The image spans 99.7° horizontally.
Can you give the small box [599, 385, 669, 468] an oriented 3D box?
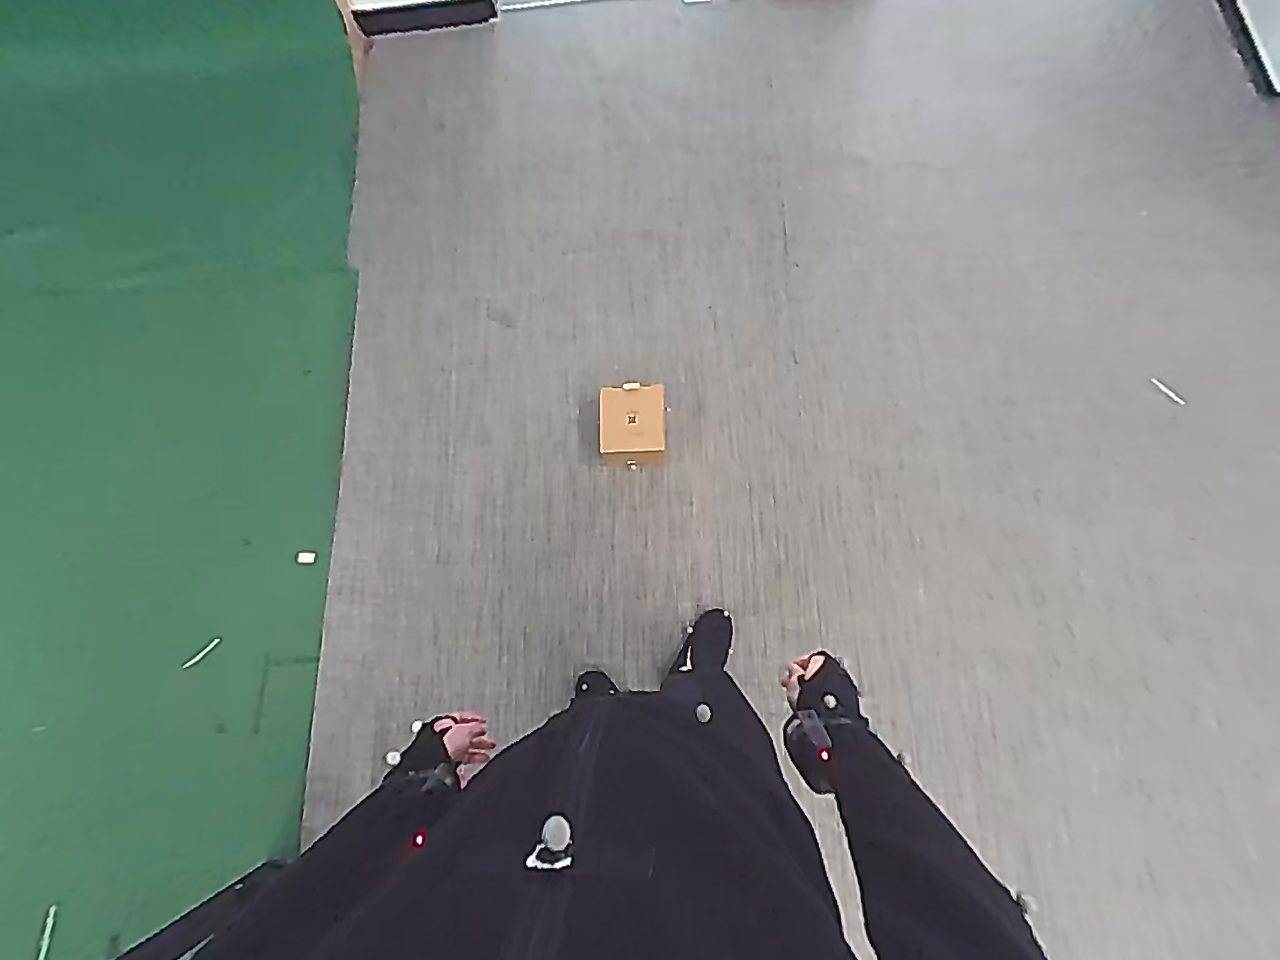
[{"bbox_3d":[-0.011,-0.138,1.431,0.168,0.176,0.179,0,78,7],"label":"small box"}]
